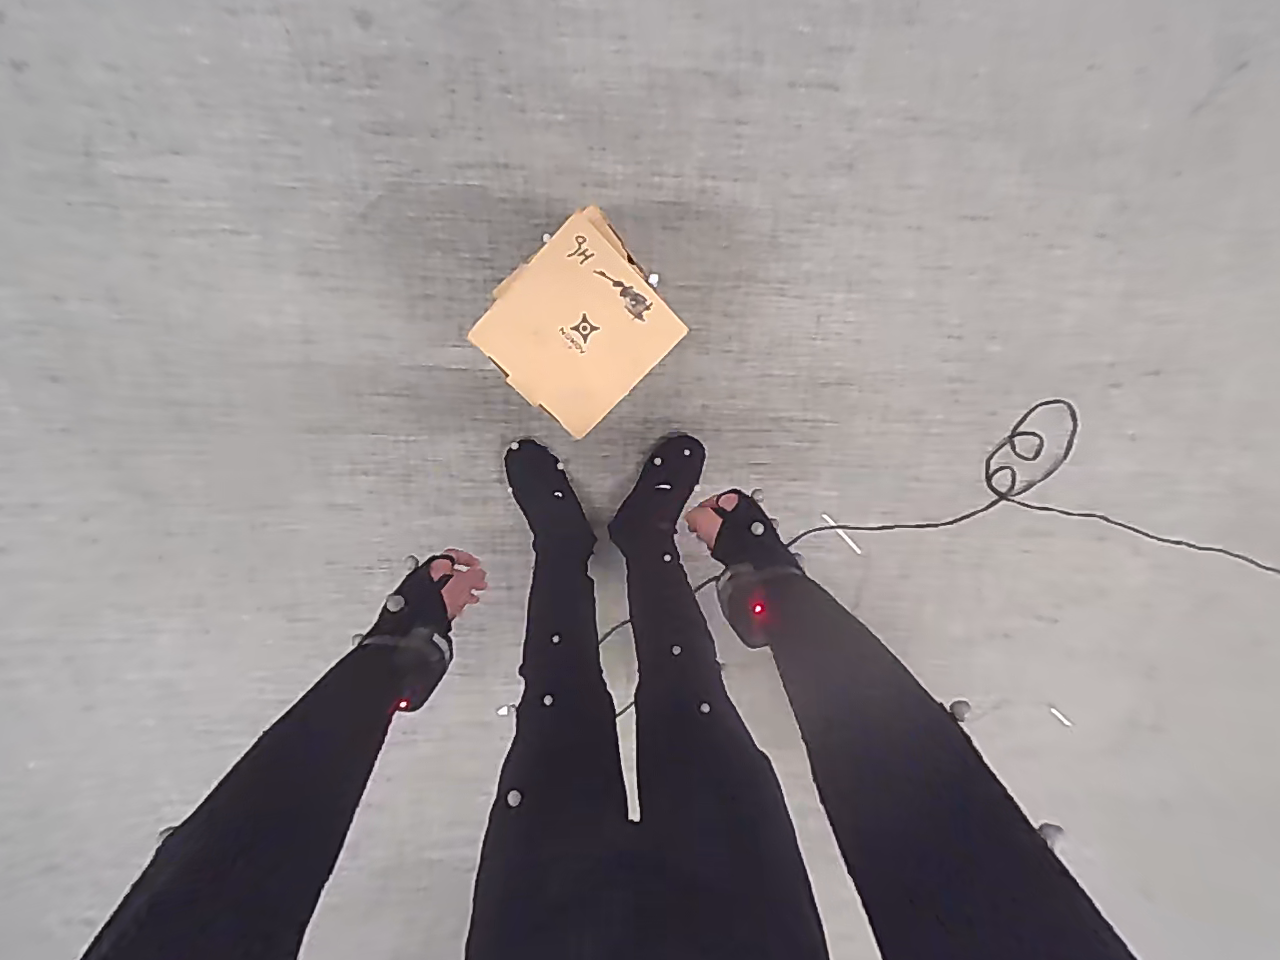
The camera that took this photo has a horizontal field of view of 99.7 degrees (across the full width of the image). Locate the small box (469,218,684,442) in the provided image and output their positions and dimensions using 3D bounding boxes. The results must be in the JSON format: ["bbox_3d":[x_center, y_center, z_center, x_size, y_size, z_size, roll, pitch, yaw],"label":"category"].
[{"bbox_3d":[-0.069,-0.179,0.651,0.179,0.176,0.168,-43,108,12],"label":"small box"}]

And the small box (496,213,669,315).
[{"bbox_3d":[-0.081,-0.259,0.794,0.179,0.176,0.168,-36,109,10],"label":"small box"}]
